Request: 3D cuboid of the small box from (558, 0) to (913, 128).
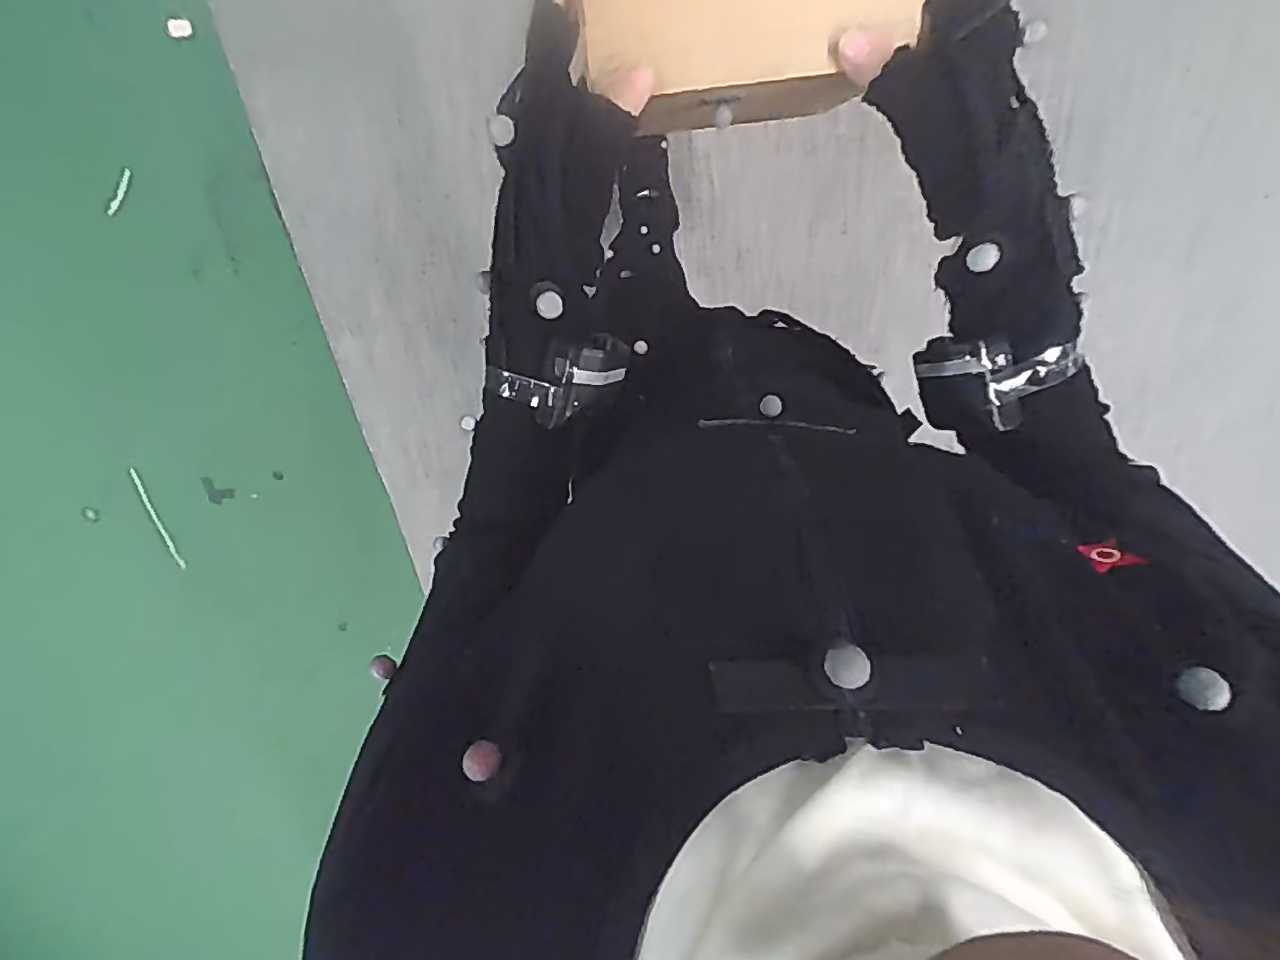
[{"bbox_3d":[0.044,-0.317,0.314,0.179,0.176,0.168,-4,117,2],"label":"small box"}]
